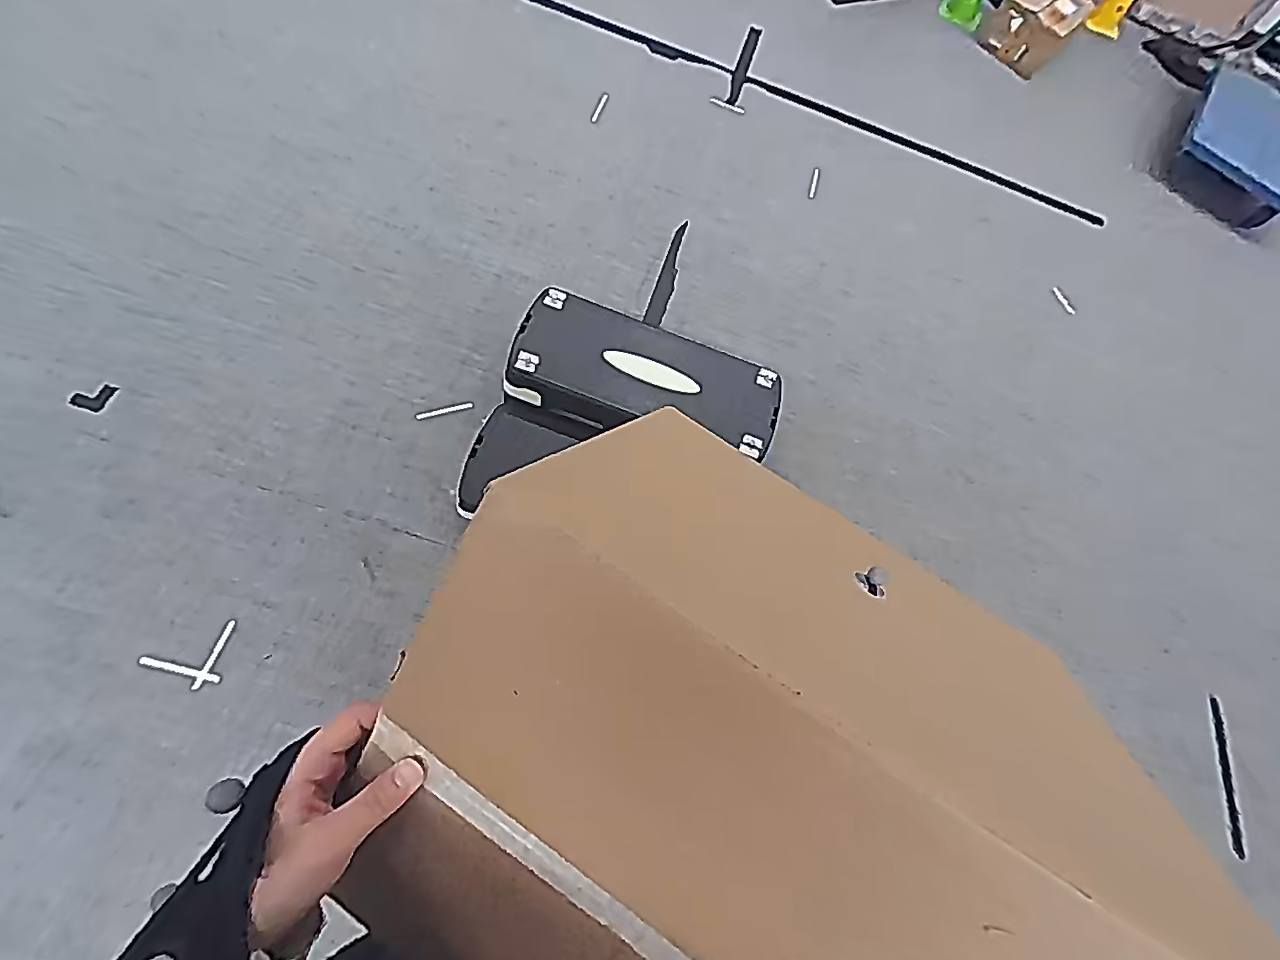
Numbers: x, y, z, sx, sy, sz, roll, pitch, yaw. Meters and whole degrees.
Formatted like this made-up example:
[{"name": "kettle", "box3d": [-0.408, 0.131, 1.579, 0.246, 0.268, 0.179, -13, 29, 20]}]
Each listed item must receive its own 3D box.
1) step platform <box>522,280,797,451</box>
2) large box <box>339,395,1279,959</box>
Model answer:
[{"name": "step platform", "box3d": [0.051, -0.233, 1.383, 0.684, 0.204, 0.286, 25, 66, -2]}, {"name": "large box", "box3d": [0.088, 0.174, 0.397, 0.408, 0.320, 0.320, 33, 22, 7]}]
